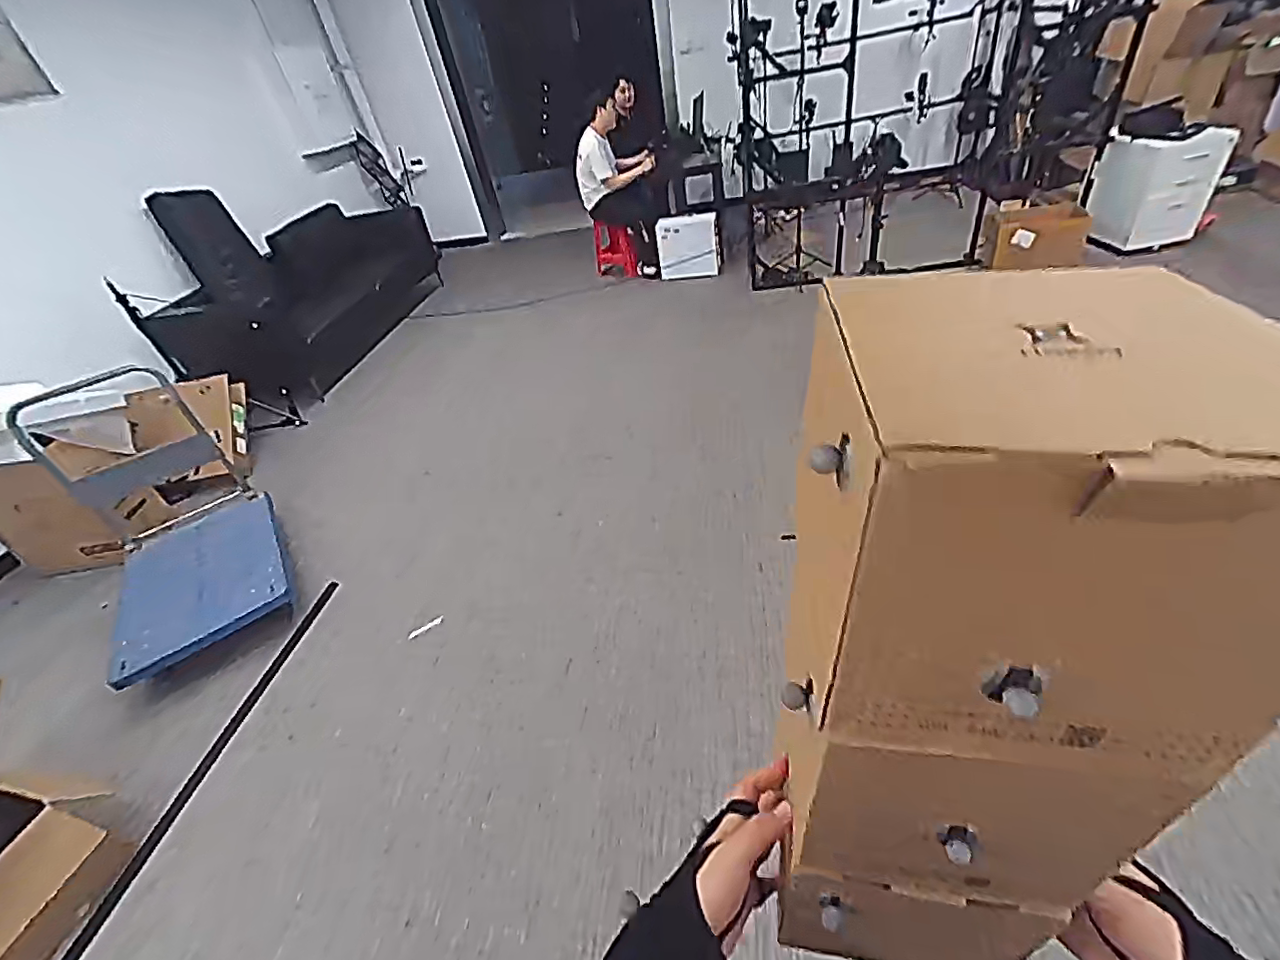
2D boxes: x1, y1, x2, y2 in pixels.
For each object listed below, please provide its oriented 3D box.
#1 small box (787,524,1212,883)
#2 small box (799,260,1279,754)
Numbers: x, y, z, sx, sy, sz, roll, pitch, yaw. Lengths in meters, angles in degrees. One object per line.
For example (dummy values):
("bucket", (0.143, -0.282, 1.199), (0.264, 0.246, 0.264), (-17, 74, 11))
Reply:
("small box", (0.193, 0.133, 0.363), (0.168, 0.176, 0.179), (3, 36, 10))
("small box", (0.176, 0.001, 0.269), (0.168, 0.176, 0.179), (2, 37, 10))
